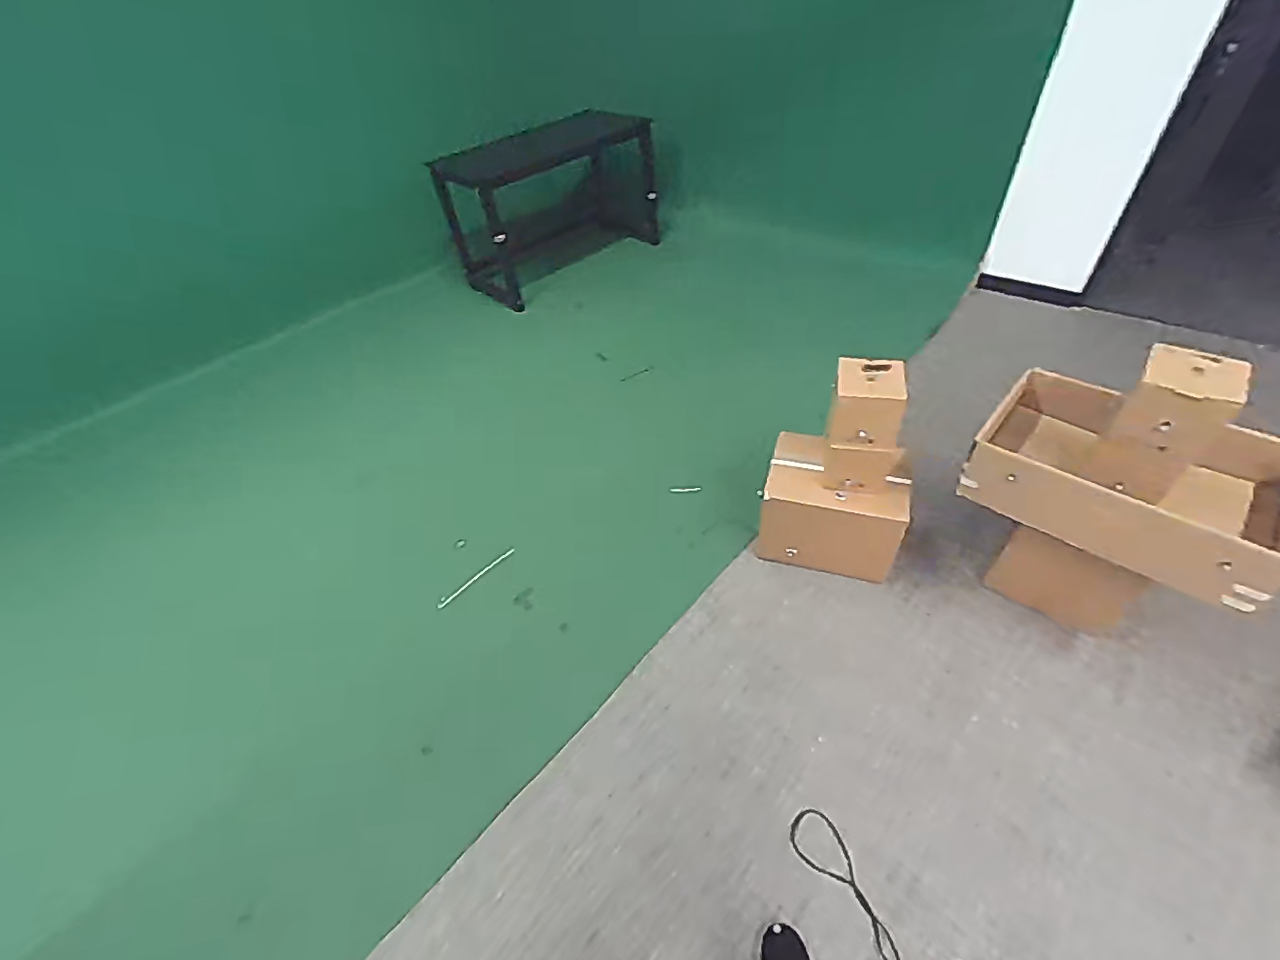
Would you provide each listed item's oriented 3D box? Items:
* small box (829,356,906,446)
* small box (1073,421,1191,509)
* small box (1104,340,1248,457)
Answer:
[{"bbox_3d":[0.614,-0.216,1.474,0.168,0.176,0.179,6,46,15],"label":"small box"},{"bbox_3d":[1.204,-0.065,1.318,0.168,0.176,0.179,30,57,33],"label":"small box"},{"bbox_3d":[1.182,-0.180,1.203,0.168,0.176,0.179,28,57,31],"label":"small box"}]
